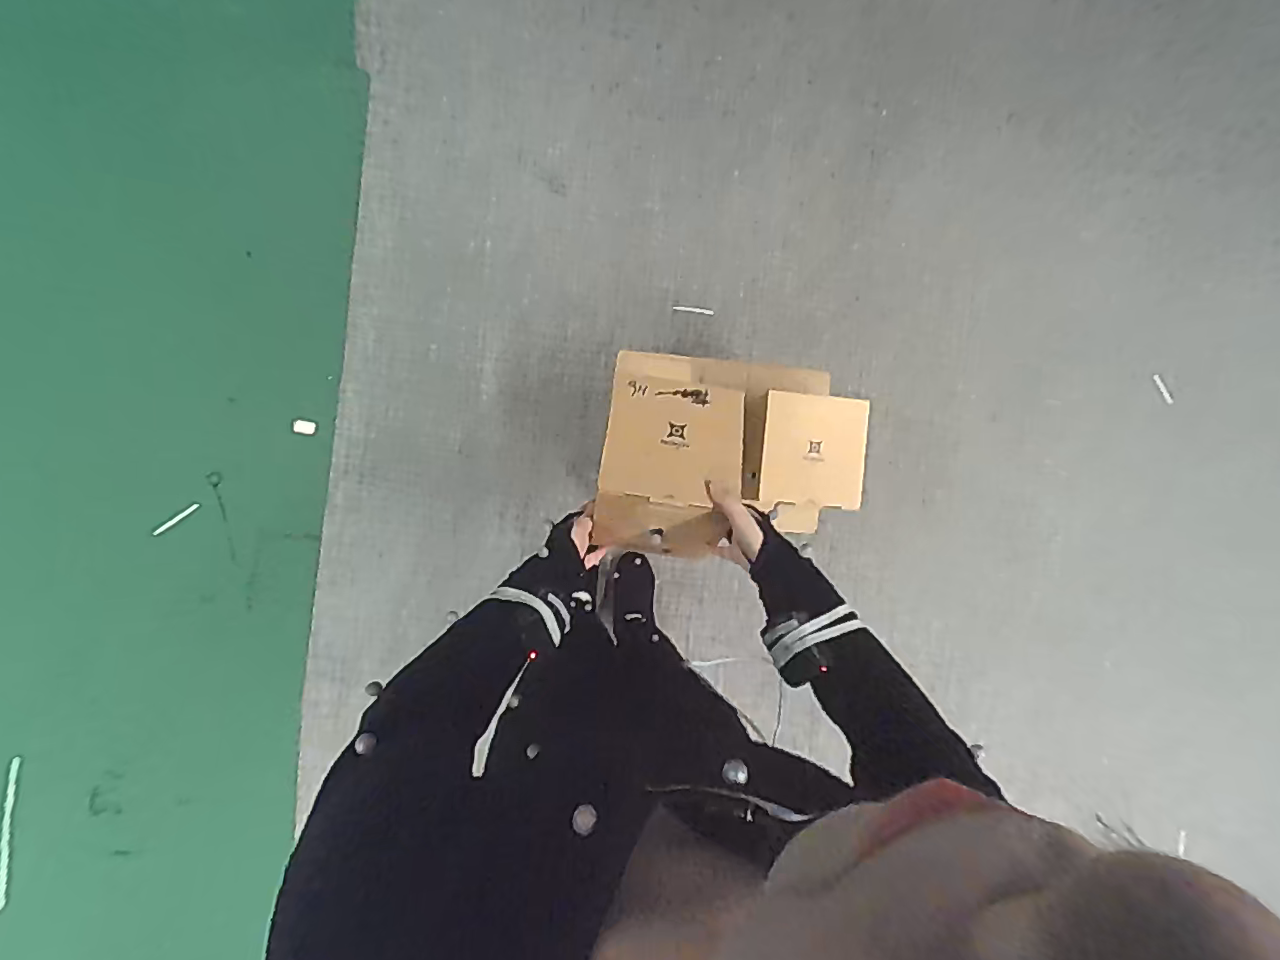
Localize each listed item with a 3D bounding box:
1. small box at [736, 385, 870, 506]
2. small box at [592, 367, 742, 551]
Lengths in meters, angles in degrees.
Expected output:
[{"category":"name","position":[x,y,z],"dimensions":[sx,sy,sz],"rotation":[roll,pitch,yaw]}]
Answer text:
[{"category":"small box","position":[0.263,-0.054,0.913],"dimensions":[0.168,0.176,0.179],"rotation":[5,91,-4]},{"category":"small box","position":[0.031,-0.019,0.720],"dimensions":[0.168,0.176,0.179],"rotation":[9,62,-2]}]
